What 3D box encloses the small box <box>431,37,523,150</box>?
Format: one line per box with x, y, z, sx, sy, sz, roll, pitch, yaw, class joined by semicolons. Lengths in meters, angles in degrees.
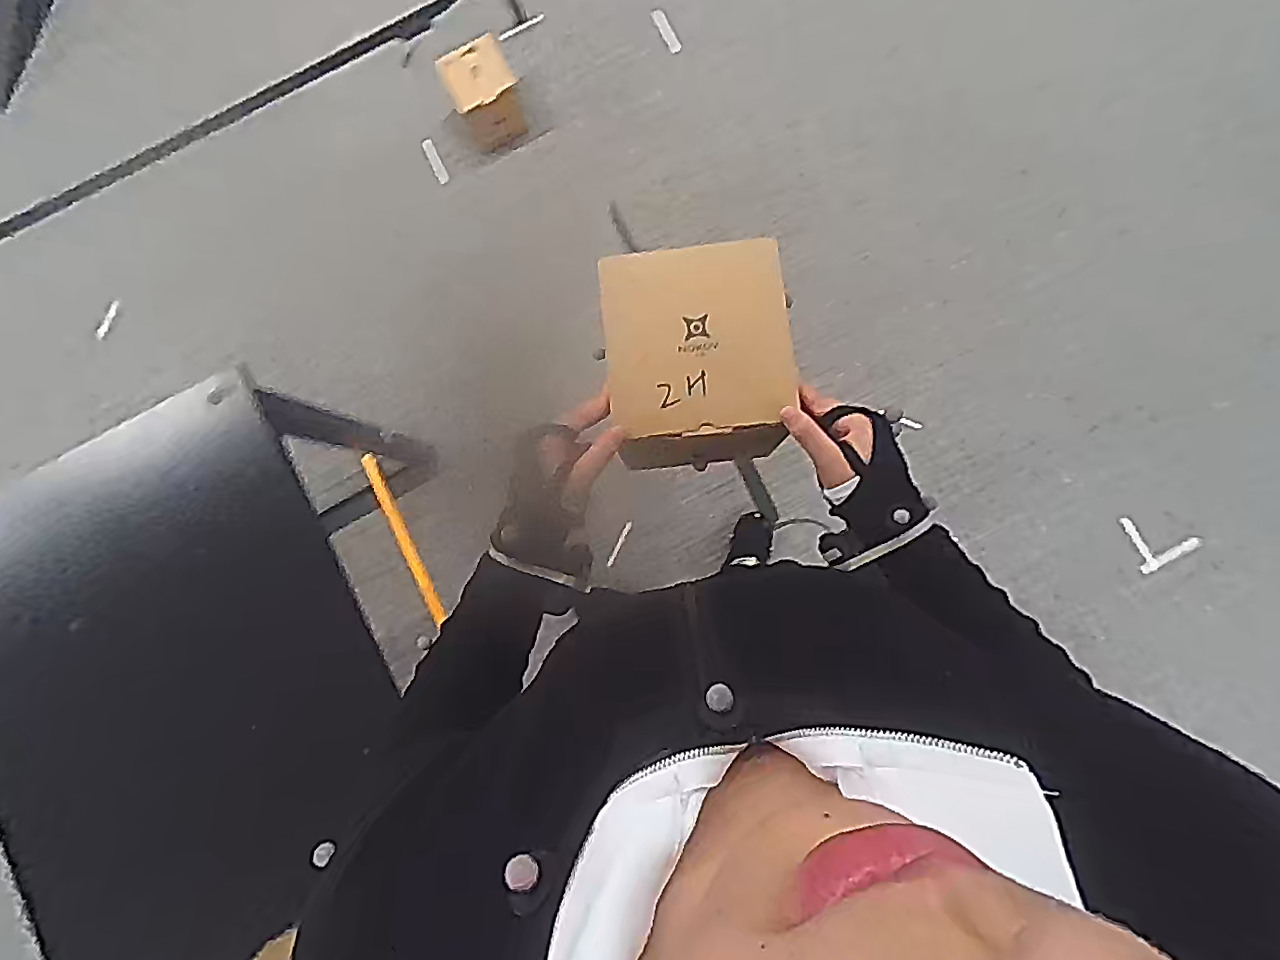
-0.456;-1.087;1.543;0.168;0.176;0.179;-28;86;0;small box

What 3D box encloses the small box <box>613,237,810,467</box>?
0.064;-0.119;0.560;0.168;0.176;0.179;-5;82;3;small box
